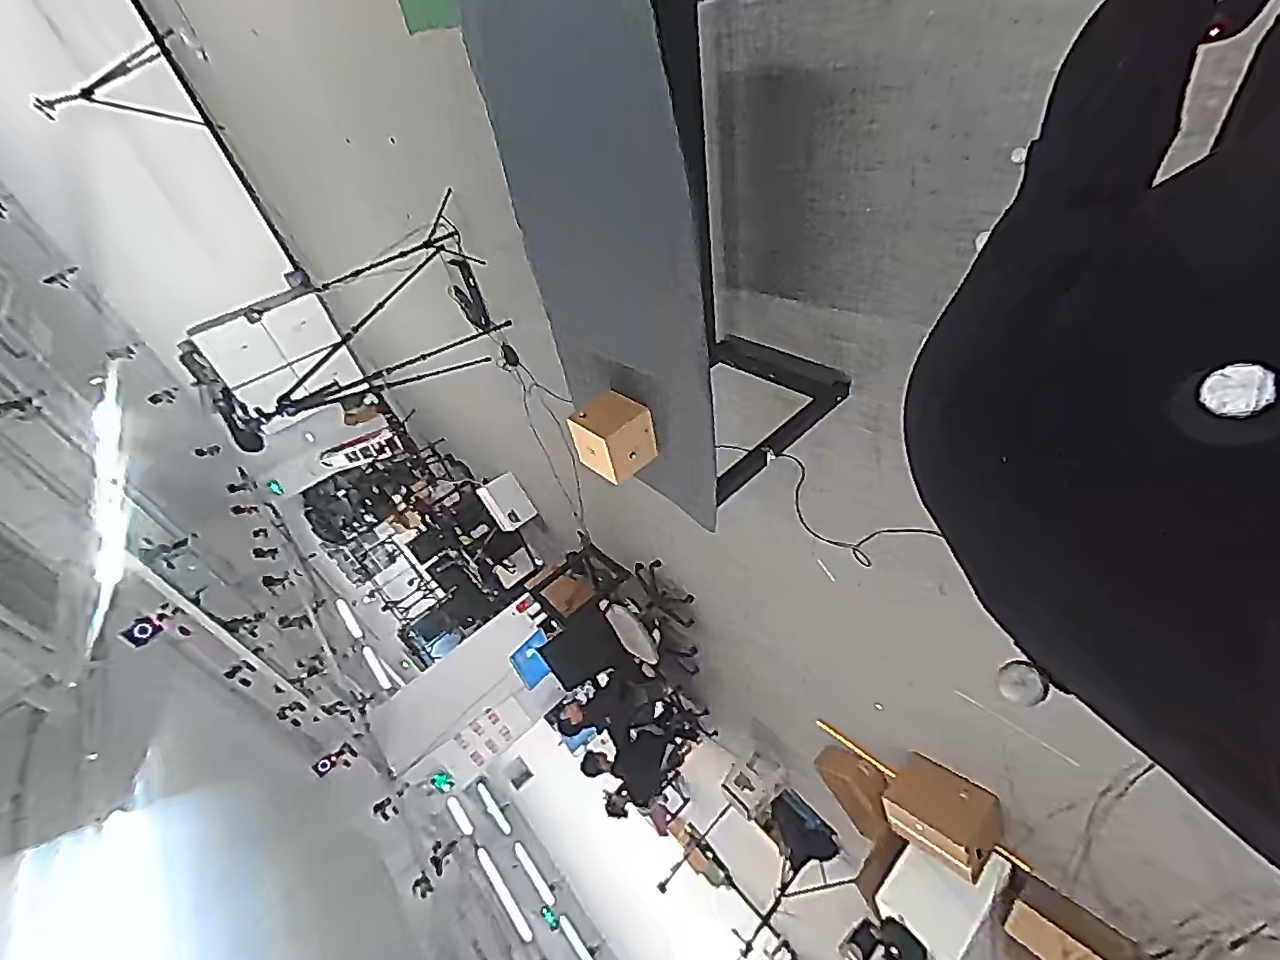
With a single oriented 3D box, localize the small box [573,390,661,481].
[{"bbox_3d":[-0.056,-0.133,1.530,0.179,0.176,0.168,32,149,40],"label":"small box"}]
